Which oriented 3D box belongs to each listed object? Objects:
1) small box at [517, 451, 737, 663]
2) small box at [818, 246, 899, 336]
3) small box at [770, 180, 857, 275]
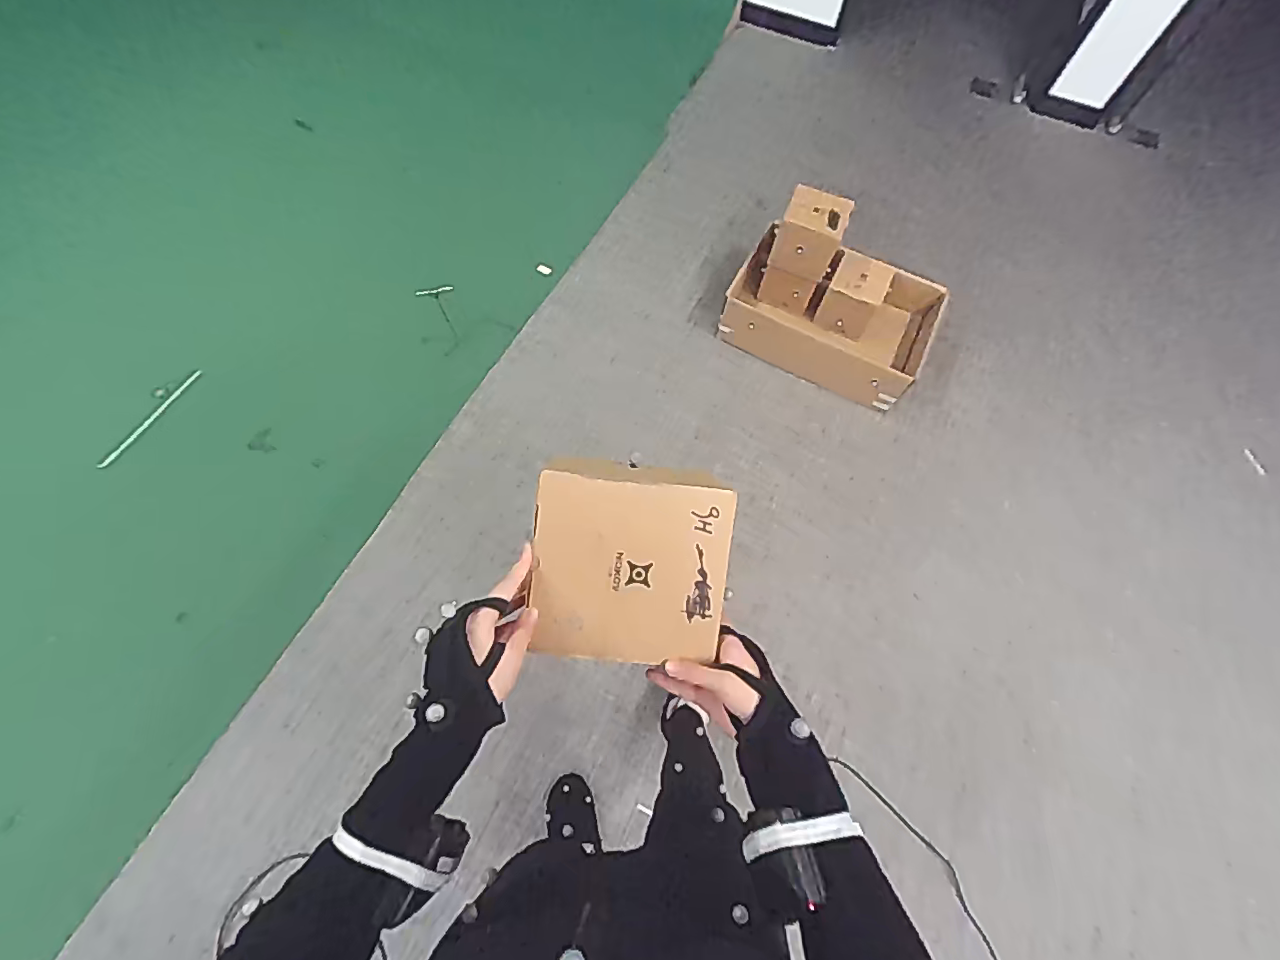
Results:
[{"bbox_3d":[-0.014,0.064,0.553,0.179,0.176,0.168,7,97,-3],"label":"small box"},{"bbox_3d":[0.689,-0.599,1.725,0.168,0.176,0.179,26,69,11],"label":"small box"},{"bbox_3d":[0.509,-0.741,1.603,0.179,0.176,0.168,22,68,8],"label":"small box"}]
